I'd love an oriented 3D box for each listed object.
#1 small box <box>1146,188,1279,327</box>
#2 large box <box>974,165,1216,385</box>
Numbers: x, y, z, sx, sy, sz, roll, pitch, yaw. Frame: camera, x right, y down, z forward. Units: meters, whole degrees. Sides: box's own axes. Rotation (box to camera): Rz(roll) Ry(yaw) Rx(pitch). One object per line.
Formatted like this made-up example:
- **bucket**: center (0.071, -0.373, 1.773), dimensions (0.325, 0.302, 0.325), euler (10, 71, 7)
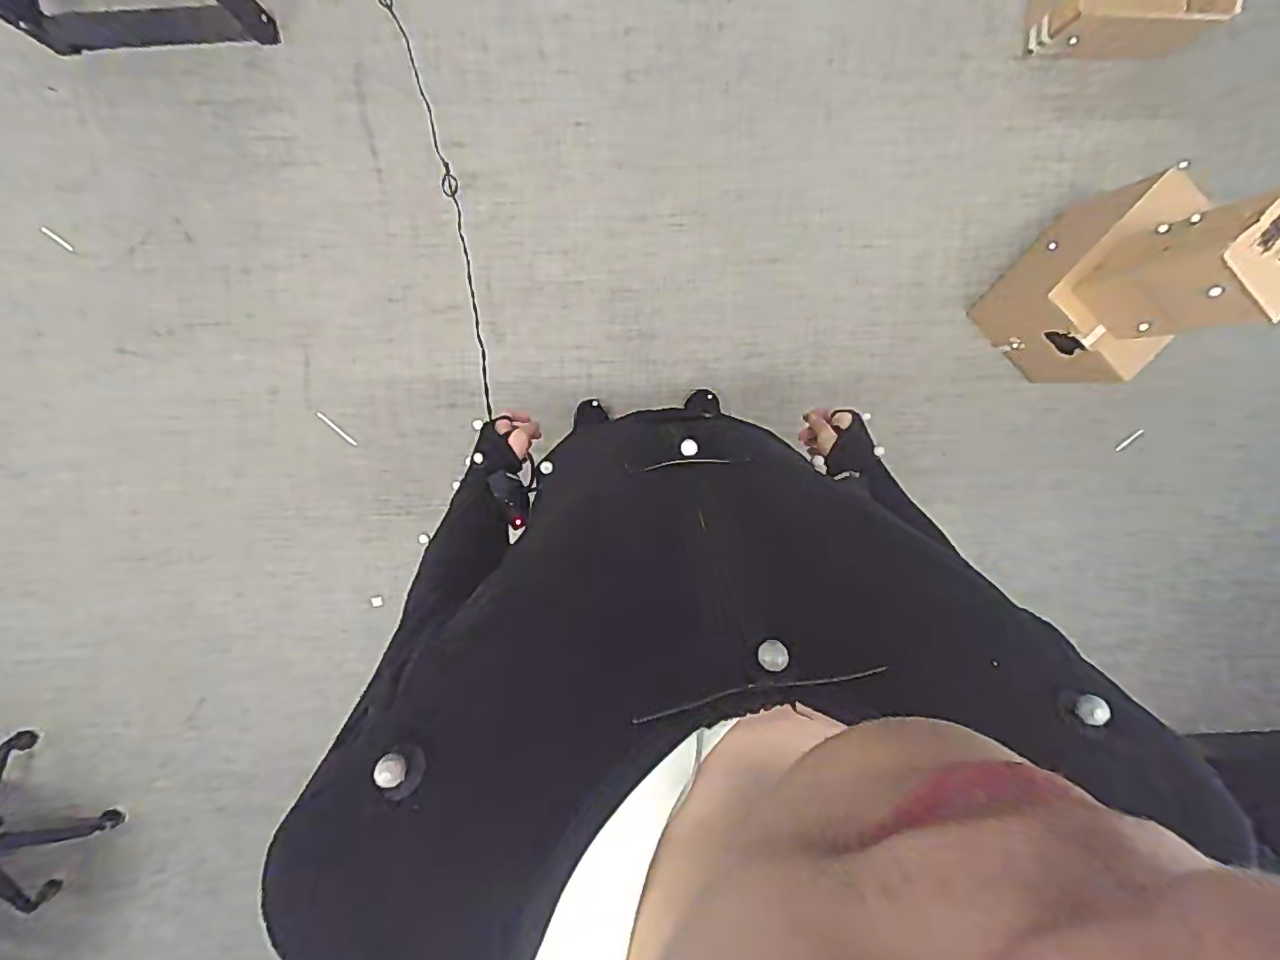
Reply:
- **small box**: center (1.145, -0.413, 1.032), dimensions (0.179, 0.176, 0.168), euler (43, 96, -8)
- **large box**: center (1.212, -0.506, 1.434), dimensions (0.320, 0.320, 0.408), euler (41, 95, -8)
